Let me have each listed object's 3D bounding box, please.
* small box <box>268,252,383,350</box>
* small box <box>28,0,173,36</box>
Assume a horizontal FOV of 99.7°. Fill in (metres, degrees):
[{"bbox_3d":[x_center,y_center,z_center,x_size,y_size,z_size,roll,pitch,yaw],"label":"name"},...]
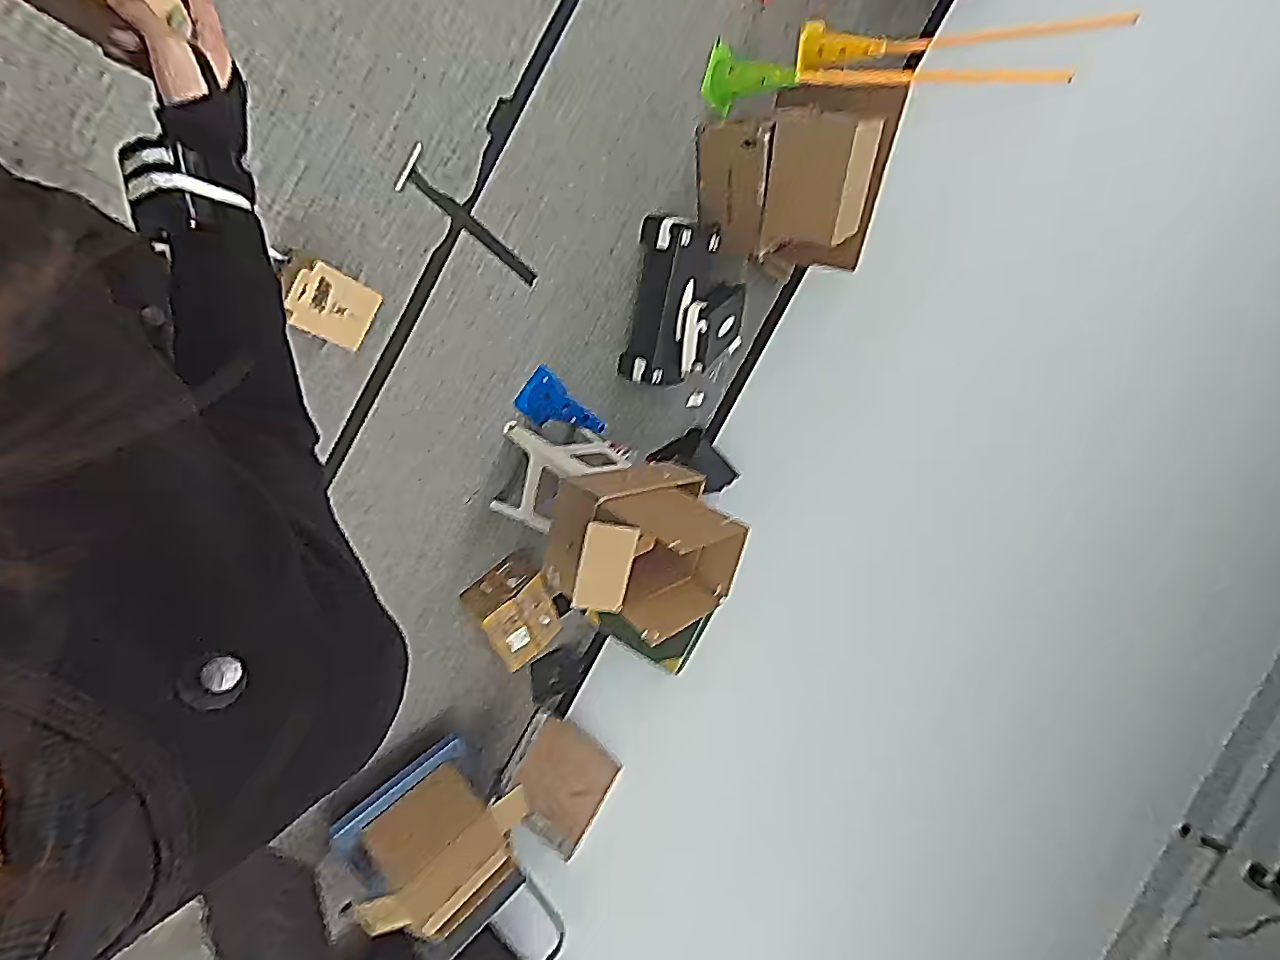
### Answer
[{"bbox_3d":[-0.807,-0.461,1.383,0.179,0.176,0.168,23,95,-57],"label":"small box"},{"bbox_3d":[-0.459,-0.479,0.400,0.168,0.176,0.179,12,101,-60],"label":"small box"}]
